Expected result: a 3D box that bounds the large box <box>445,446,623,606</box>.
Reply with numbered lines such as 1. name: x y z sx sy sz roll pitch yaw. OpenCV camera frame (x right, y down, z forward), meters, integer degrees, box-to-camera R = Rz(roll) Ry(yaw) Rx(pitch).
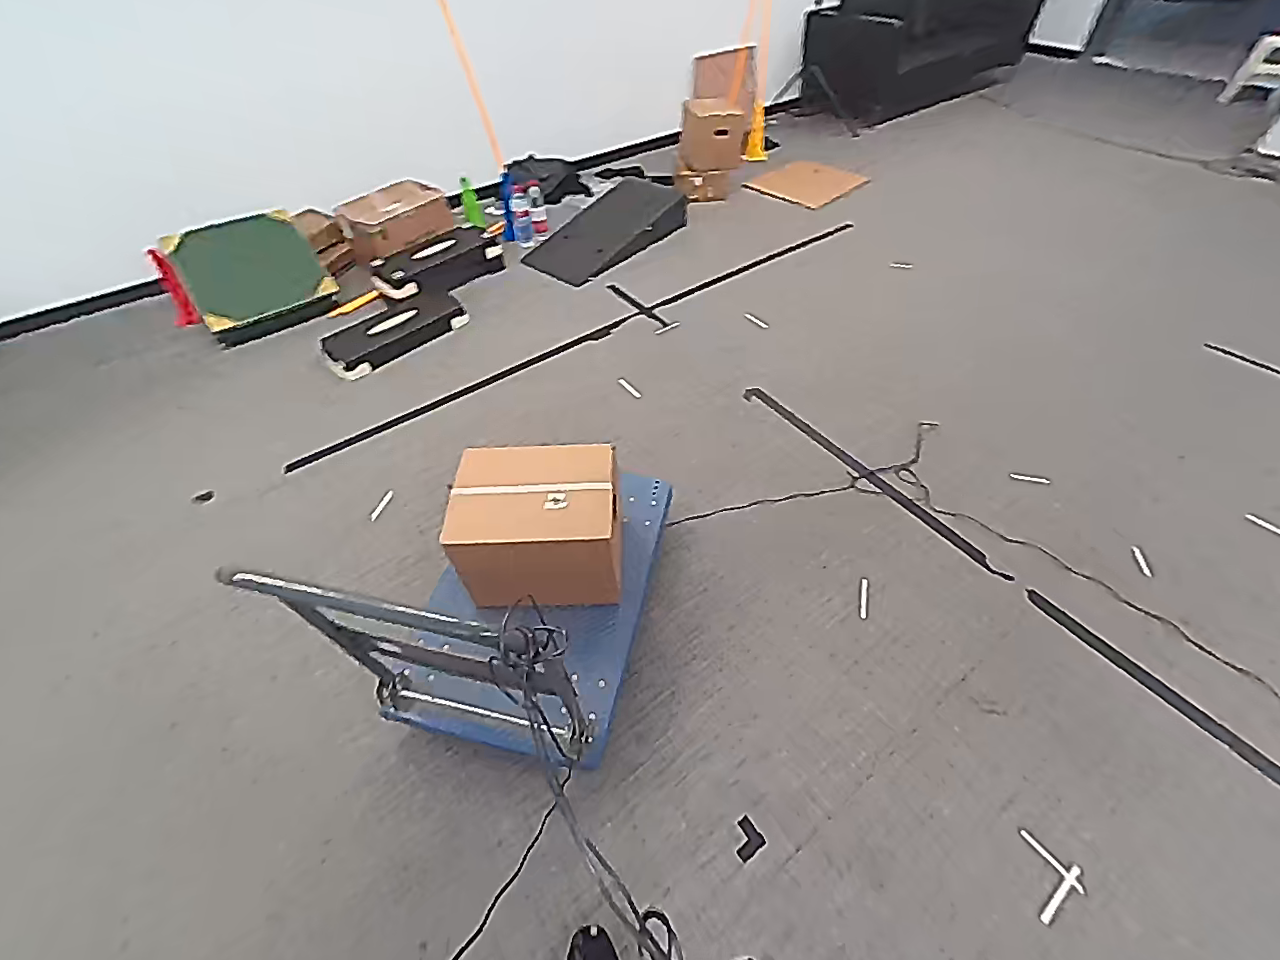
1. large box: -0.257 0.126 1.458 0.408 0.320 0.320 -1 49 1
